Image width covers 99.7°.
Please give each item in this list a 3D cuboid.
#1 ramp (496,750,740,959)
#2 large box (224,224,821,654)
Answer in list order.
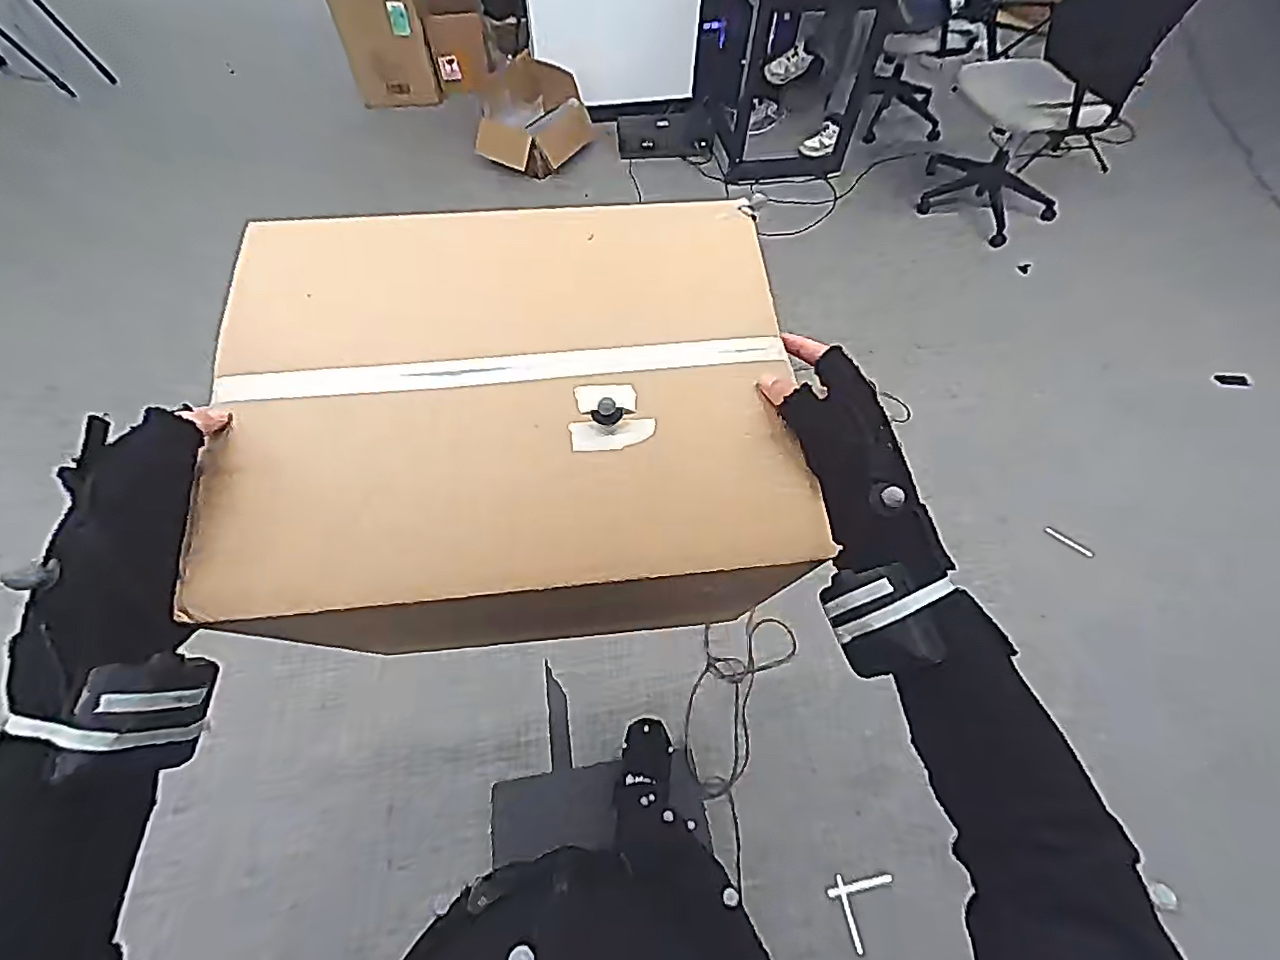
[{"bbox_3d":[-0.023,1.077,1.006,0.509,0.206,0.991,-10,59,-6],"label":"ramp"},{"bbox_3d":[-0.093,-0.016,0.550,0.408,0.320,0.320,-5,69,-5],"label":"large box"}]
